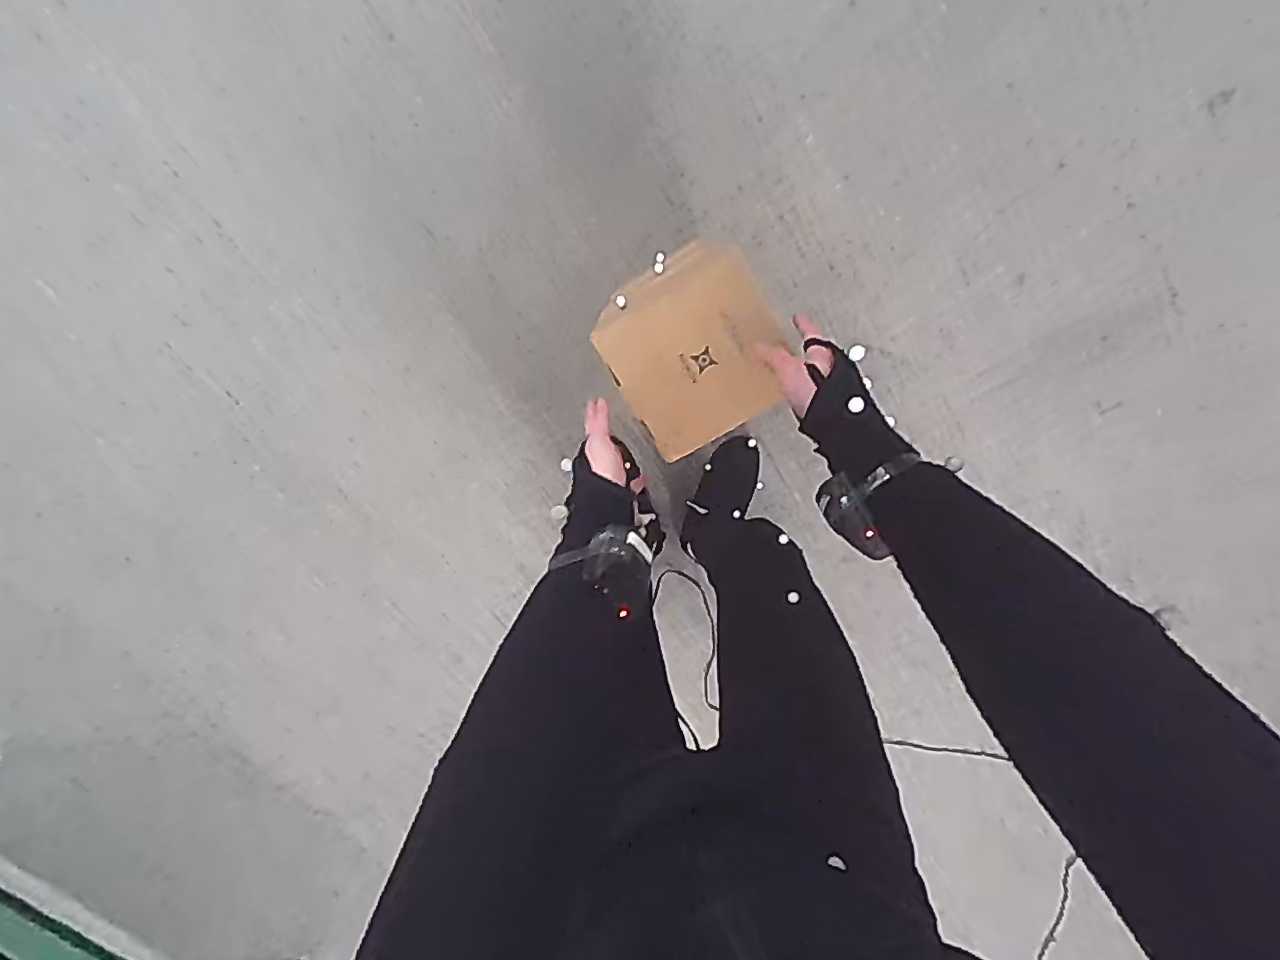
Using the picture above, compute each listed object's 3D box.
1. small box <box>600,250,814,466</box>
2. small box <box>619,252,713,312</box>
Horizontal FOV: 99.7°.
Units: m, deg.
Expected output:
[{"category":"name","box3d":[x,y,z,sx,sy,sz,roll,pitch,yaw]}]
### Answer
[{"category":"small box","box3d":[0.072,-0.147,0.641,0.179,0.176,0.168,-31,109,10]},{"category":"small box","box3d":[0.079,-0.276,0.941,0.168,0.176,0.179,-30,109,10]}]
